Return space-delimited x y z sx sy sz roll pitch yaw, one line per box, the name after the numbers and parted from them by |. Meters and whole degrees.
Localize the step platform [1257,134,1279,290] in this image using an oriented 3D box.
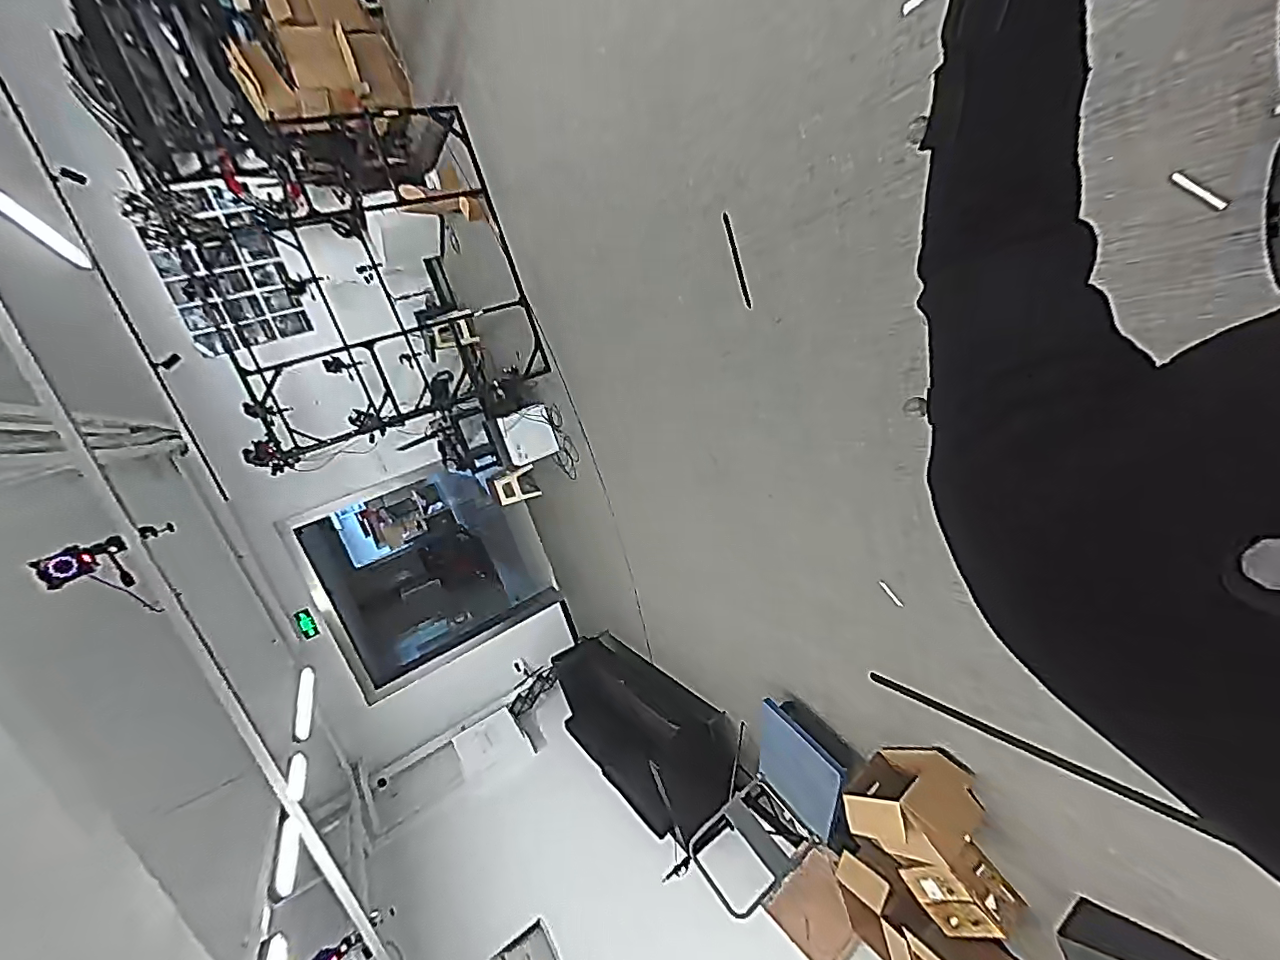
1.326 -0.468 0.708 0.684 0.204 0.286 9 121 63 | step platform
